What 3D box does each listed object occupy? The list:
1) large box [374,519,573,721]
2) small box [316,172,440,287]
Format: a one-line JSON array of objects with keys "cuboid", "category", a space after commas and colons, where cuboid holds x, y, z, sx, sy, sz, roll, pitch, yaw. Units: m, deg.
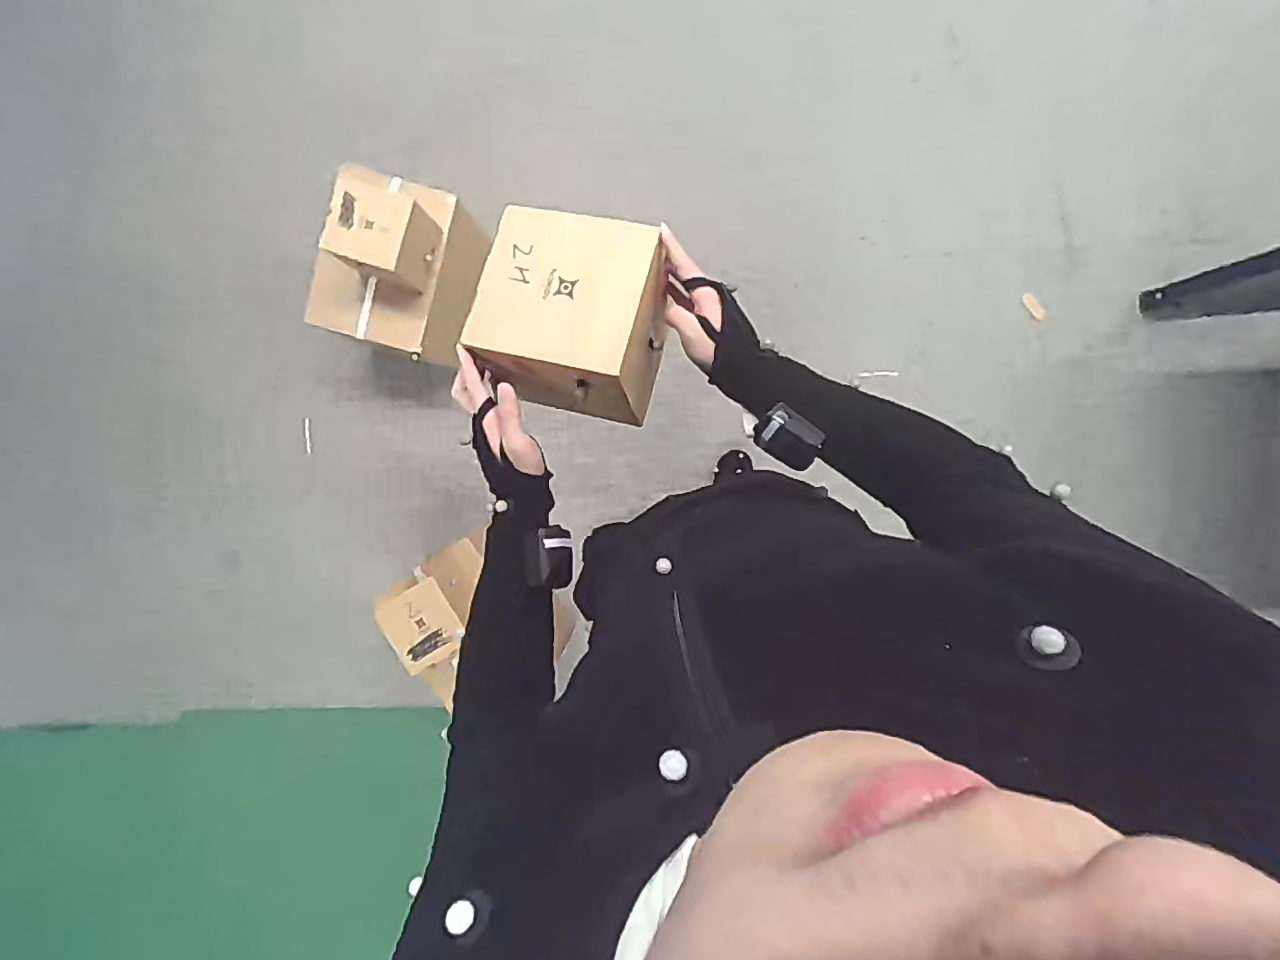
[{"cuboid": [-0.445, 0.373, 1.535, 0.320, 0.320, 0.408, -35, 92, 5], "category": "large box"}, {"cuboid": [-0.595, -0.566, 1.245, 0.179, 0.176, 0.168, 18, 94, 0], "category": "small box"}]
